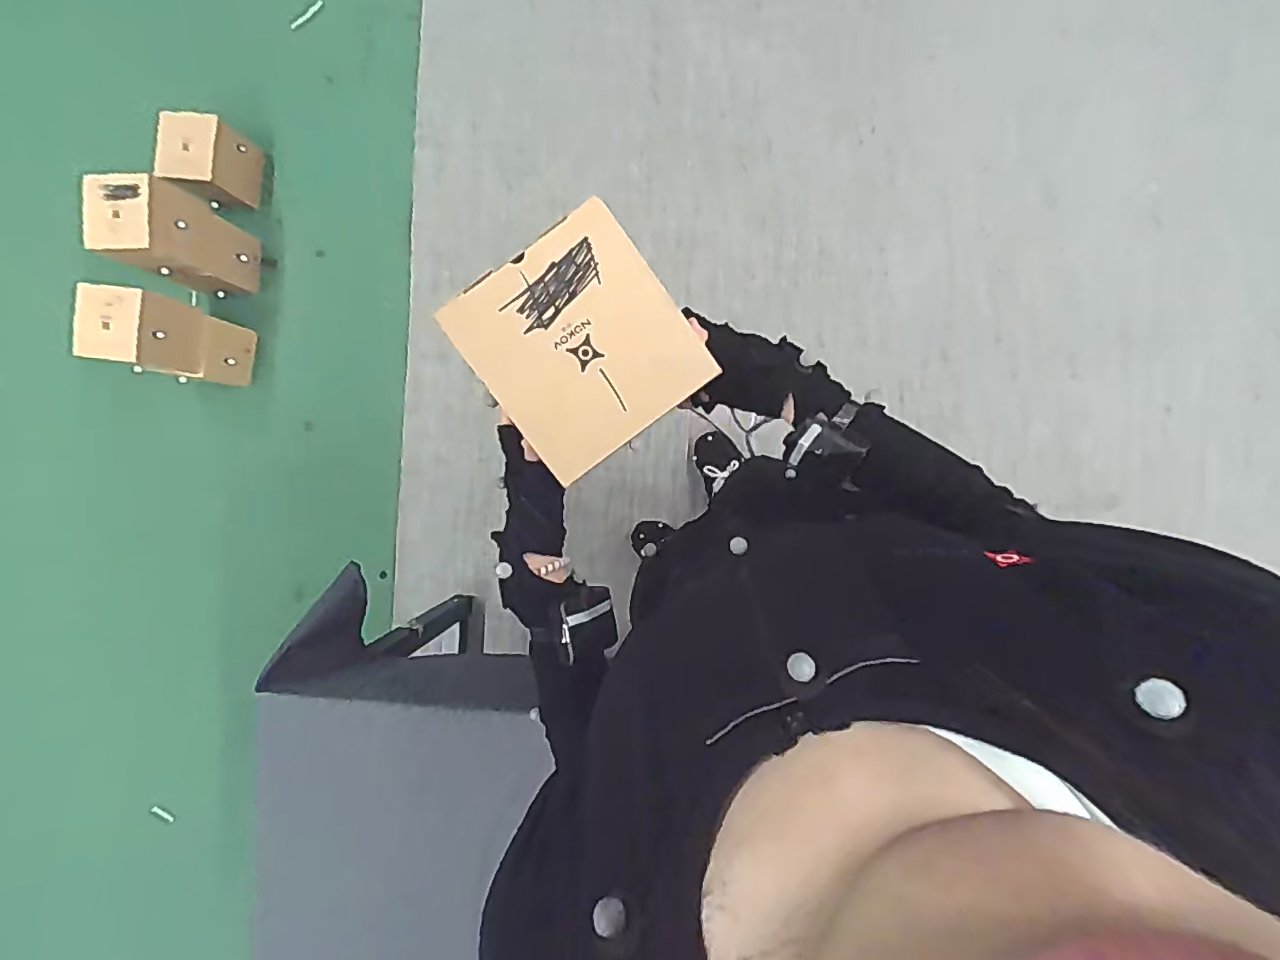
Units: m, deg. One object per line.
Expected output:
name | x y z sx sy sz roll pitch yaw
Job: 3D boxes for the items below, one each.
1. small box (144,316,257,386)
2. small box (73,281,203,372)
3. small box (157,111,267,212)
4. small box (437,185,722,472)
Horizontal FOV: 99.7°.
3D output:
small box | -1.212 -0.363 1.504 0.179 0.176 0.168 9 91 4
small box | -1.233 -0.372 1.340 0.168 0.176 0.179 8 91 4
small box | -1.178 -0.879 1.501 0.168 0.176 0.179 8 91 4
small box | -0.053 -0.124 0.511 0.168 0.176 0.179 -36 95 -1
